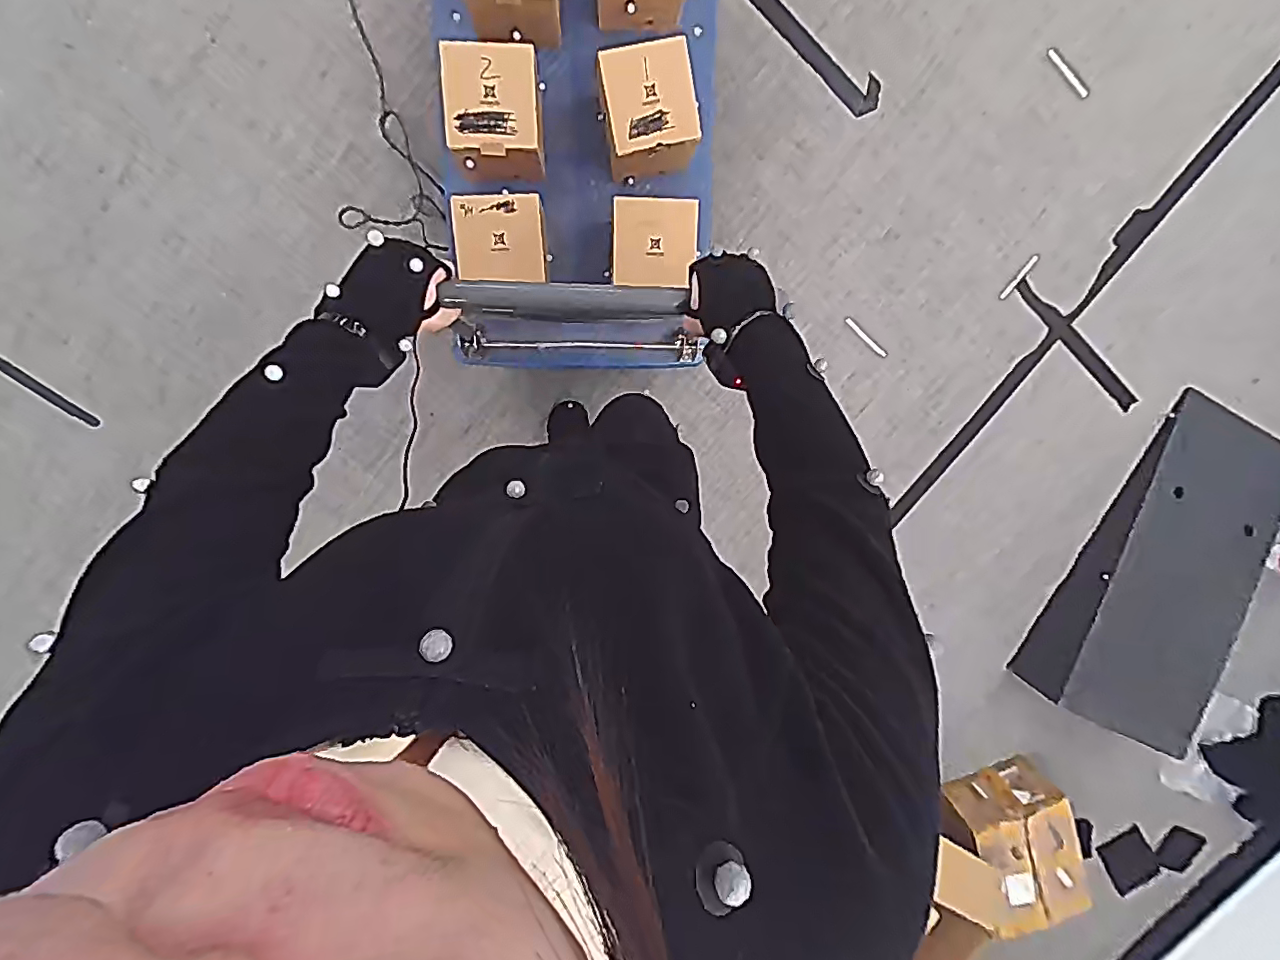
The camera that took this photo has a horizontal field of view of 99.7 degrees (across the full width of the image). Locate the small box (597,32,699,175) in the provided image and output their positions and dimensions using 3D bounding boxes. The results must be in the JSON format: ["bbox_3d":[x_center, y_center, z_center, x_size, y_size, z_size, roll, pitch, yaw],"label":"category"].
[{"bbox_3d":[0.013,-0.731,1.073,0.168,0.176,0.179,-12,102,-2],"label":"small box"}]

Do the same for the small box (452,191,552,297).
[{"bbox_3d":[-0.272,-0.471,1.104,0.168,0.176,0.179,-4,103,-5],"label":"small box"}]

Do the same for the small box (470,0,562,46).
[{"bbox_3d":[-0.233,-0.958,1.002,0.168,0.176,0.179,1,103,-5],"label":"small box"}]

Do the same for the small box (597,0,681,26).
[{"bbox_3d":[-0.001,-0.996,1.016,0.168,0.176,0.179,-3,102,-4],"label":"small box"}]

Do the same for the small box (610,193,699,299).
[{"bbox_3d":[0.025,-0.479,1.130,0.168,0.176,0.179,0,101,-5],"label":"small box"}]
